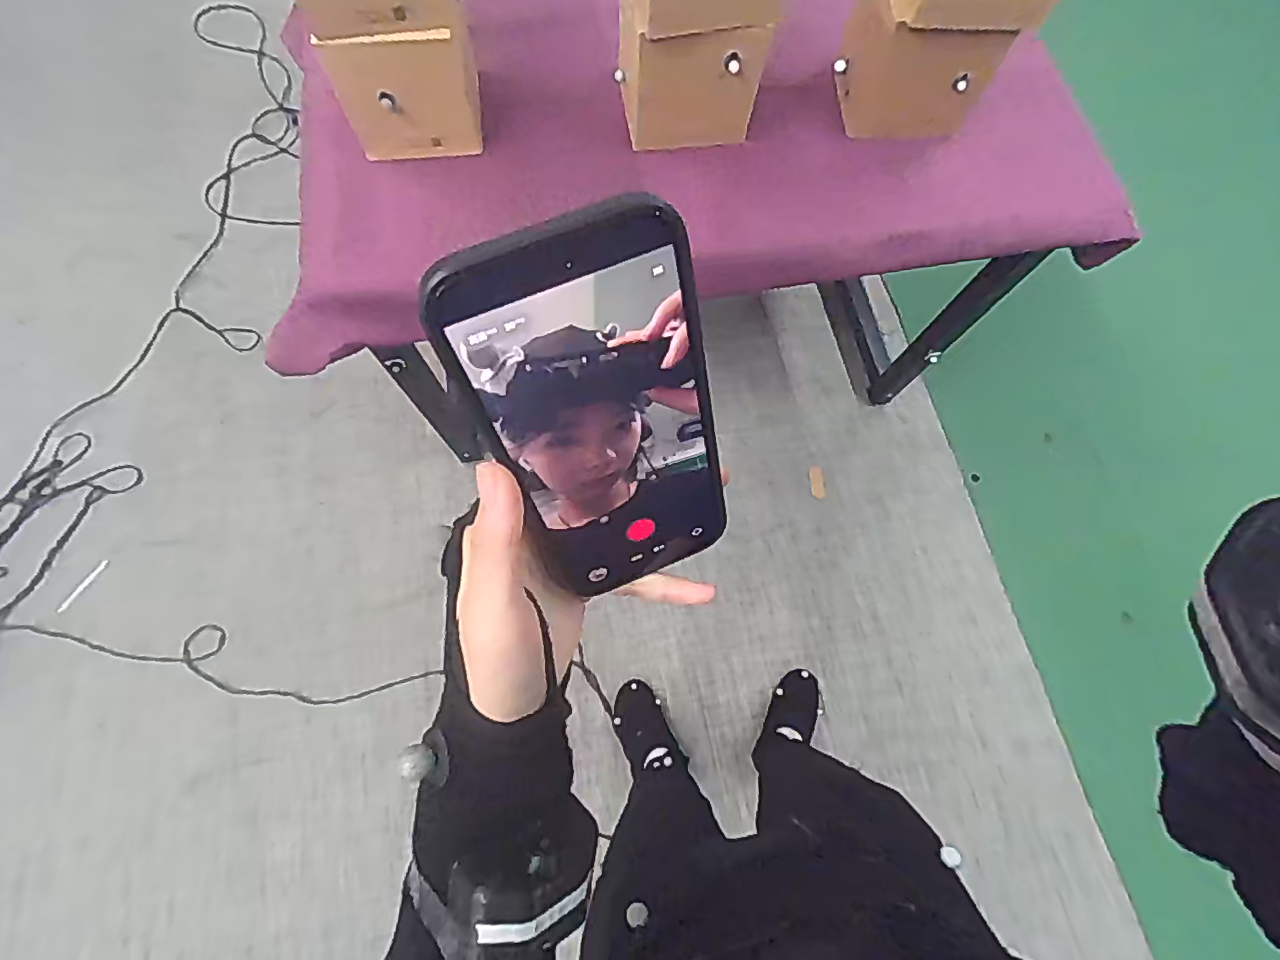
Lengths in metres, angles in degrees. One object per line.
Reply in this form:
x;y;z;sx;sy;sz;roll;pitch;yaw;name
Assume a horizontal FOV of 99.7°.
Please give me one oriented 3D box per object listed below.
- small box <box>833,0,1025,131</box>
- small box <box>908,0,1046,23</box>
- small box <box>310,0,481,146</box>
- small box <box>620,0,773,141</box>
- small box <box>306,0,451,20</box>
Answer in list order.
0.406;-0.644;0.789;0.179;0.176;0.168;-1;73;-2;small box
0.424;-0.678;0.629;0.179;0.176;0.168;-1;73;-3;small box
-0.321;-0.589;0.742;0.168;0.176;0.179;-6;74;-4;small box
0.068;-0.617;0.765;0.179;0.176;0.168;-7;74;-4;small box
-0.316;-0.644;0.587;0.168;0.176;0.179;-11;75;-6;small box
